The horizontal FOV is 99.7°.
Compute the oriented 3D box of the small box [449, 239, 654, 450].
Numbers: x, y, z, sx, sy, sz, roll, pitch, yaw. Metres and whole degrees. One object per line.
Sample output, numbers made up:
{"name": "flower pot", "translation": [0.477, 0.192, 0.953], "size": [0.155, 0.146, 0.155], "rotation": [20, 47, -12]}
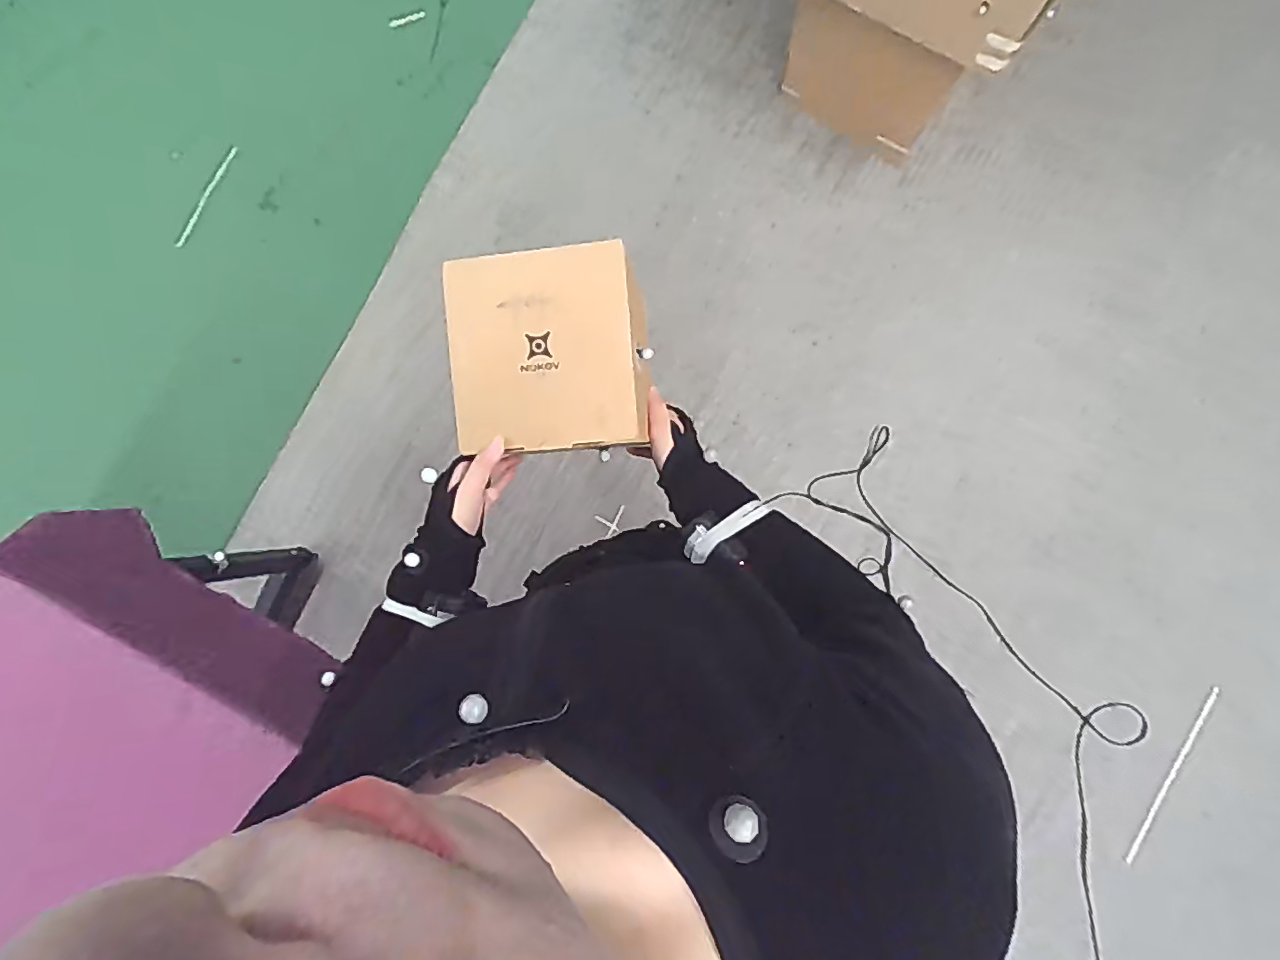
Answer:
{"name": "small box", "translation": [-0.076, -0.124, 0.556], "size": [0.168, 0.176, 0.179], "rotation": [-3, 93, 6]}
